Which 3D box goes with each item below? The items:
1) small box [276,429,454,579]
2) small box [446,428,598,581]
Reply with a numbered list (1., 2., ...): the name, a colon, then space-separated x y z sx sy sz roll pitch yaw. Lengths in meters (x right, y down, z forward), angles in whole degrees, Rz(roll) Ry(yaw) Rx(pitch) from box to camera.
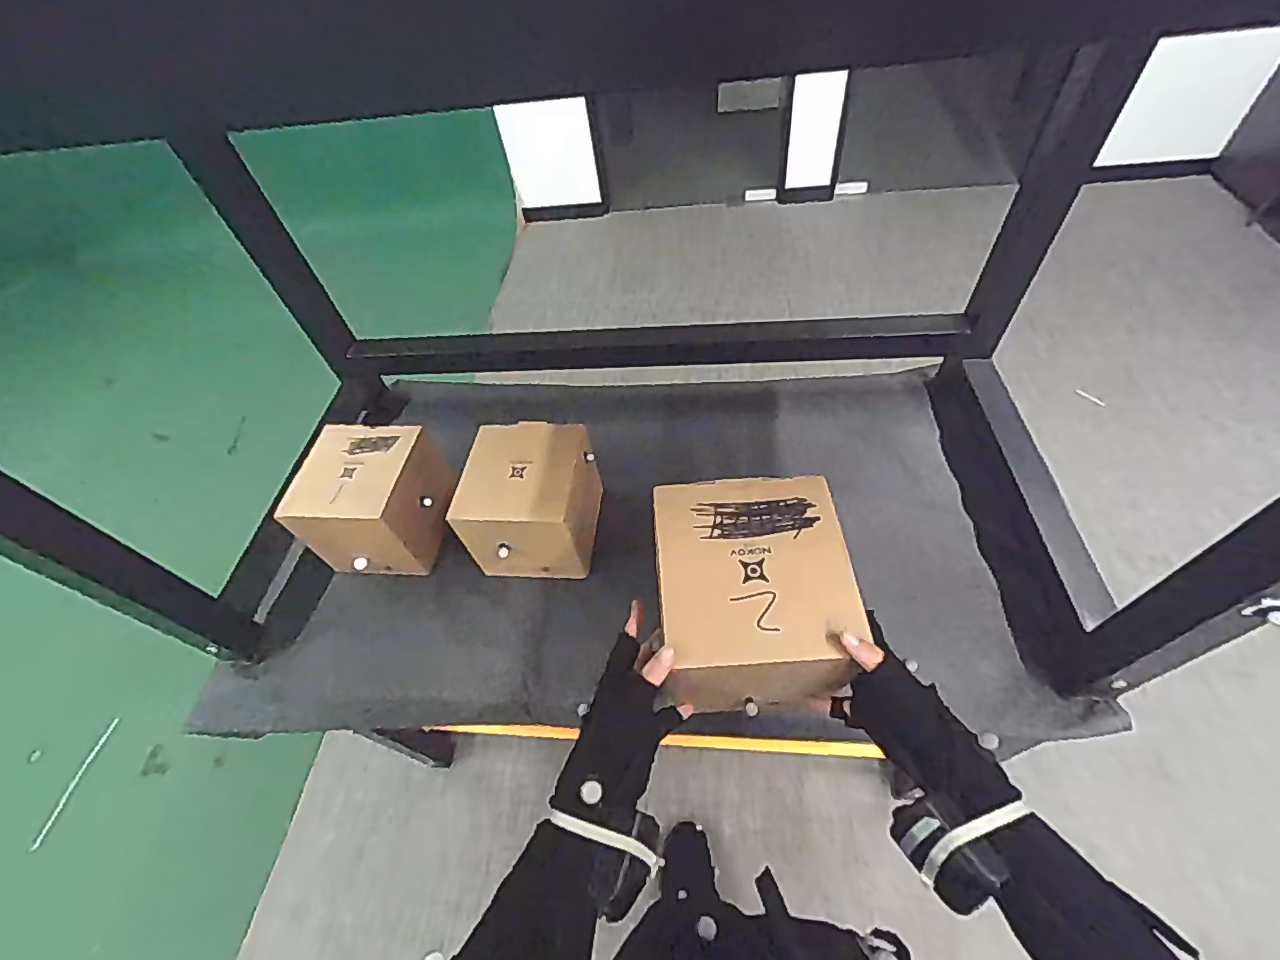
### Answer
1. small box: -0.416 0.038 0.859 0.168 0.176 0.179 1 53 8
2. small box: -0.165 0.041 0.828 0.168 0.176 0.179 1 52 8
